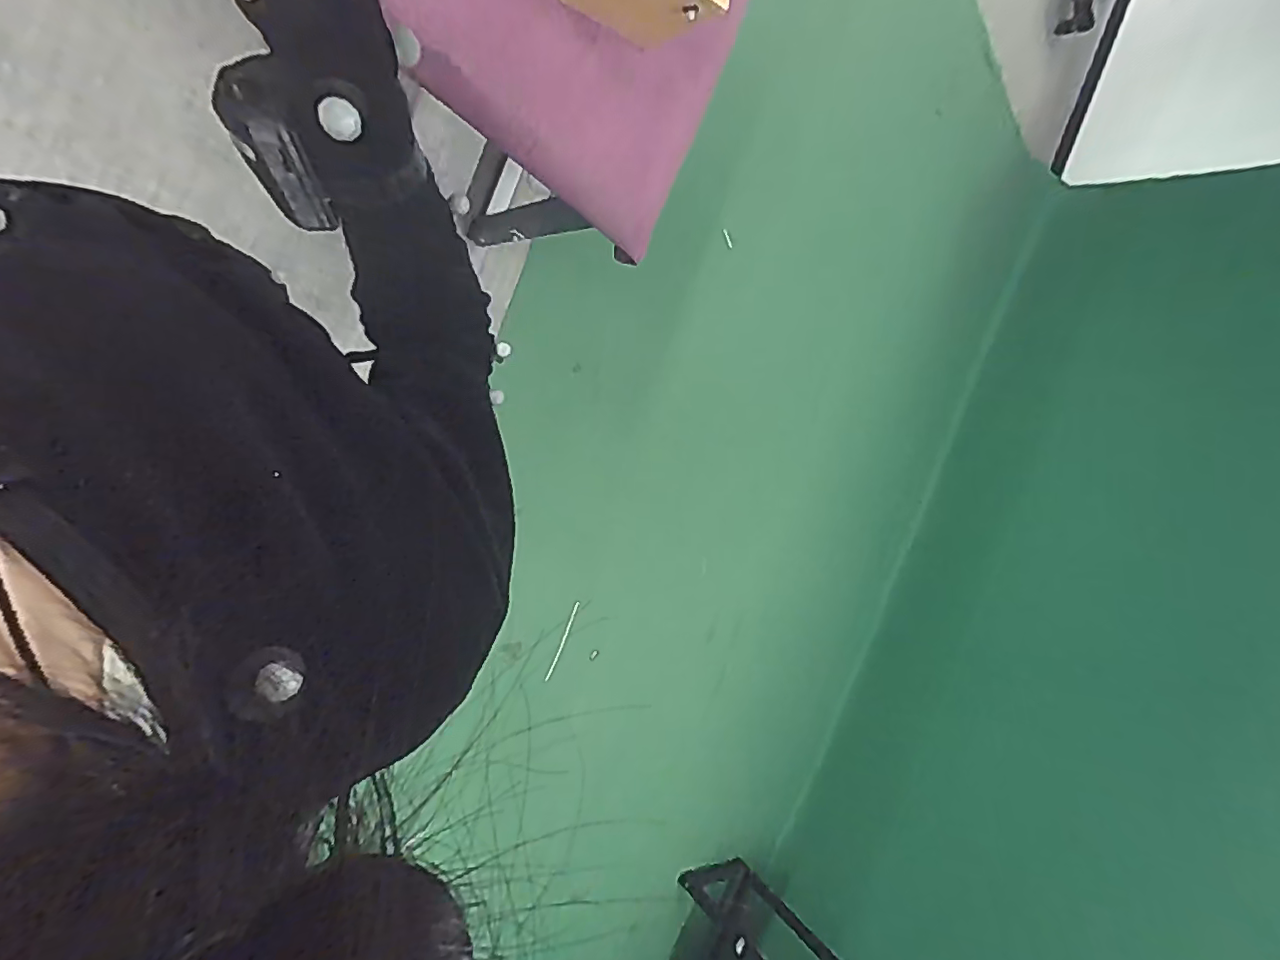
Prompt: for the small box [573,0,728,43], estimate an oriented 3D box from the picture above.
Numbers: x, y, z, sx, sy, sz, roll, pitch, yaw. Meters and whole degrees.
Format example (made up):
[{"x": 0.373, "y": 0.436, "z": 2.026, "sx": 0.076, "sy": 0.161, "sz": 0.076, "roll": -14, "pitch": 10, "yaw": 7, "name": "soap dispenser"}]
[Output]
[{"x": 0.010, "y": -0.726, "z": 0.713, "sx": 0.179, "sy": 0.176, "sz": 0.168, "roll": -4, "pitch": 107, "yaw": -39, "name": "small box"}]
